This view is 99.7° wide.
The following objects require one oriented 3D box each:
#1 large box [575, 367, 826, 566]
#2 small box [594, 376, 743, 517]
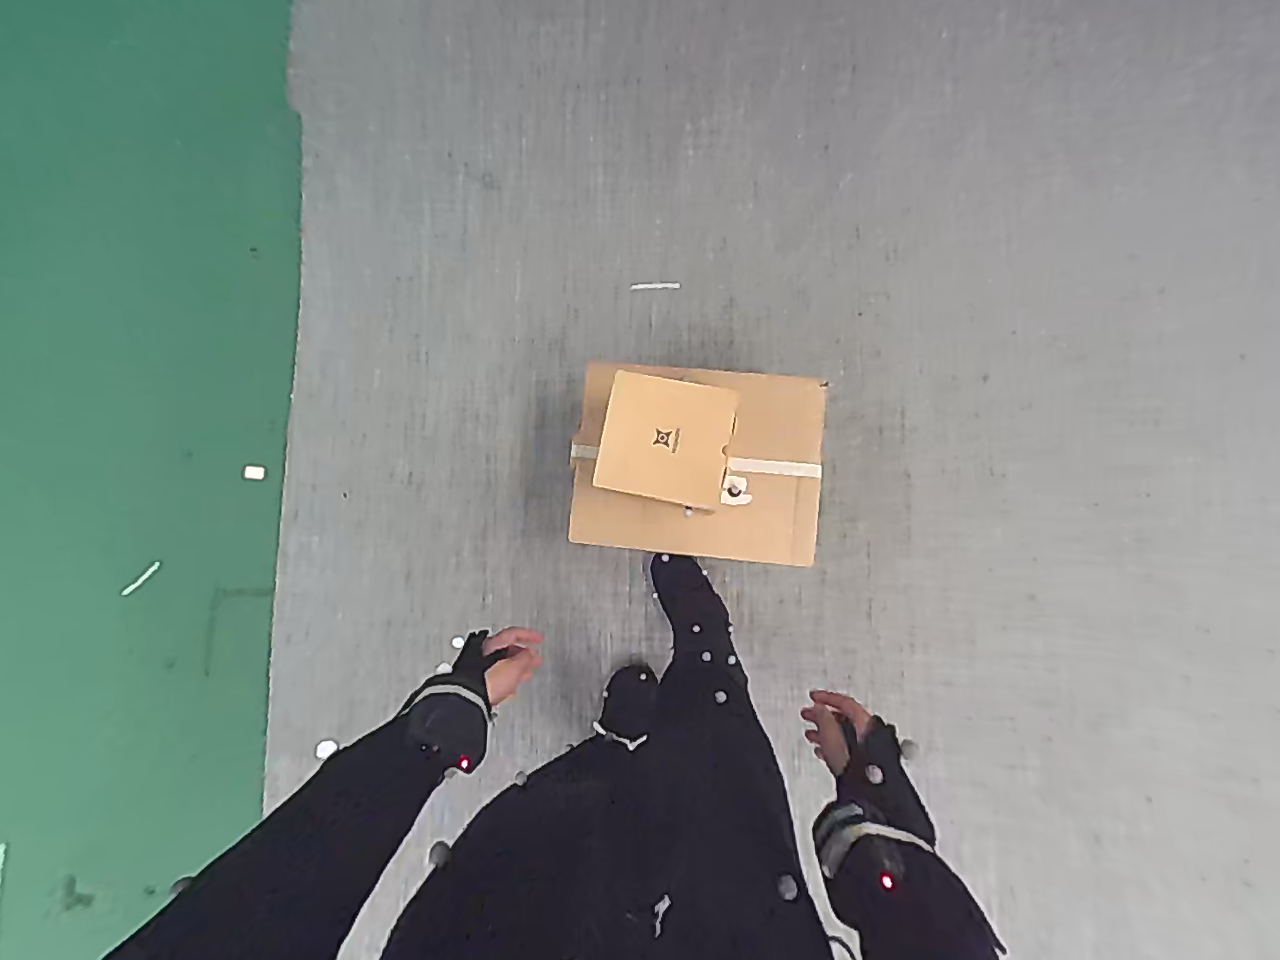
[{"bbox_3d":[0.107,-0.013,1.041,0.408,0.320,0.320,5,86,4],"label":"large box"},{"bbox_3d":[0.044,-0.040,0.804,0.179,0.176,0.168,11,85,5],"label":"small box"}]
